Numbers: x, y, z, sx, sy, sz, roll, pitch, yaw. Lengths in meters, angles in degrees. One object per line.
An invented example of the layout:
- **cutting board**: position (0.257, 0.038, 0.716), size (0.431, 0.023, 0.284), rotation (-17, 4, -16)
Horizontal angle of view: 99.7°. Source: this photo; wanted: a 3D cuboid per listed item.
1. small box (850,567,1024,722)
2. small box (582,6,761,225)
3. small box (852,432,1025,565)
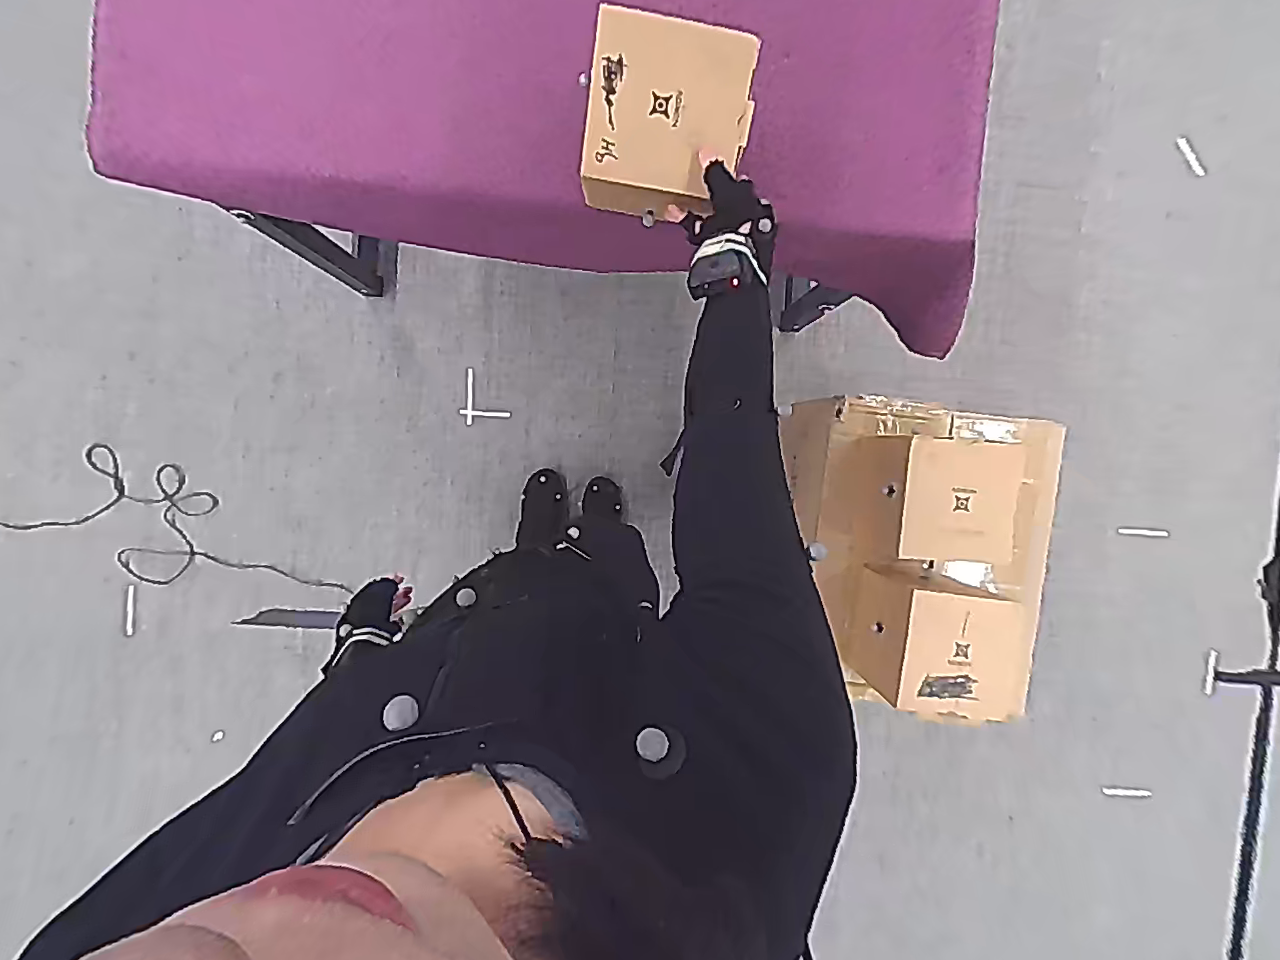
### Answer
- **small box**: position (0.447, 0.245, 0.841), size (0.168, 0.176, 0.179), rotation (8, 90, -3)
- **small box**: position (0.028, -0.426, 0.668), size (0.179, 0.176, 0.168), rotation (8, 105, -6)
- **small box**: position (0.445, 0.022, 0.832), size (0.168, 0.176, 0.179), rotation (4, 94, -2)
